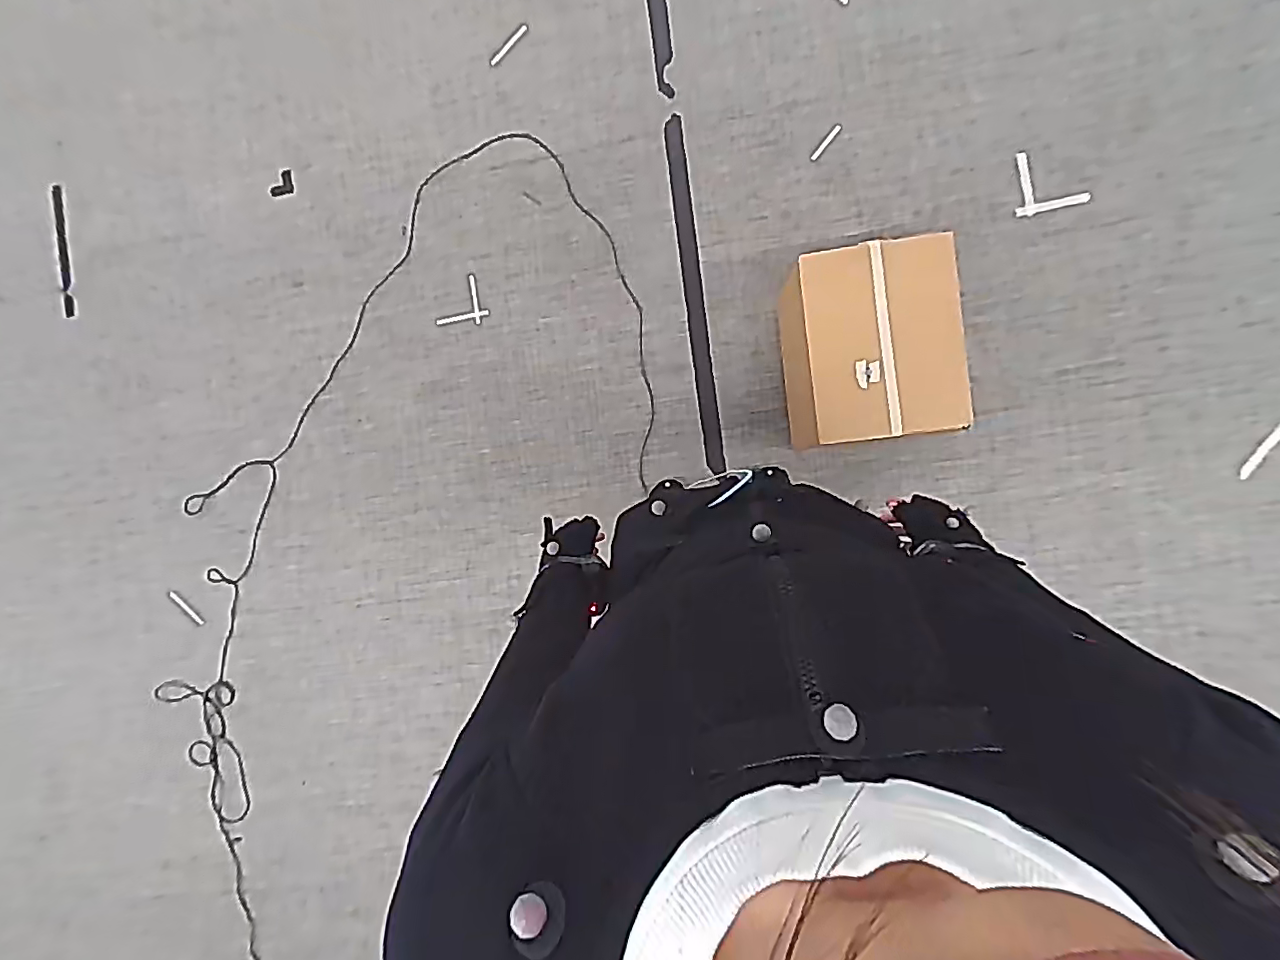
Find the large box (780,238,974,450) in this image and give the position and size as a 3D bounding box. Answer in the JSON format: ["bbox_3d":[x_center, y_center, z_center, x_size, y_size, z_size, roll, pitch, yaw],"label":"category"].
[{"bbox_3d":[0.528,-0.289,1.272,0.320,0.320,0.408,-6,91,7],"label":"large box"}]
